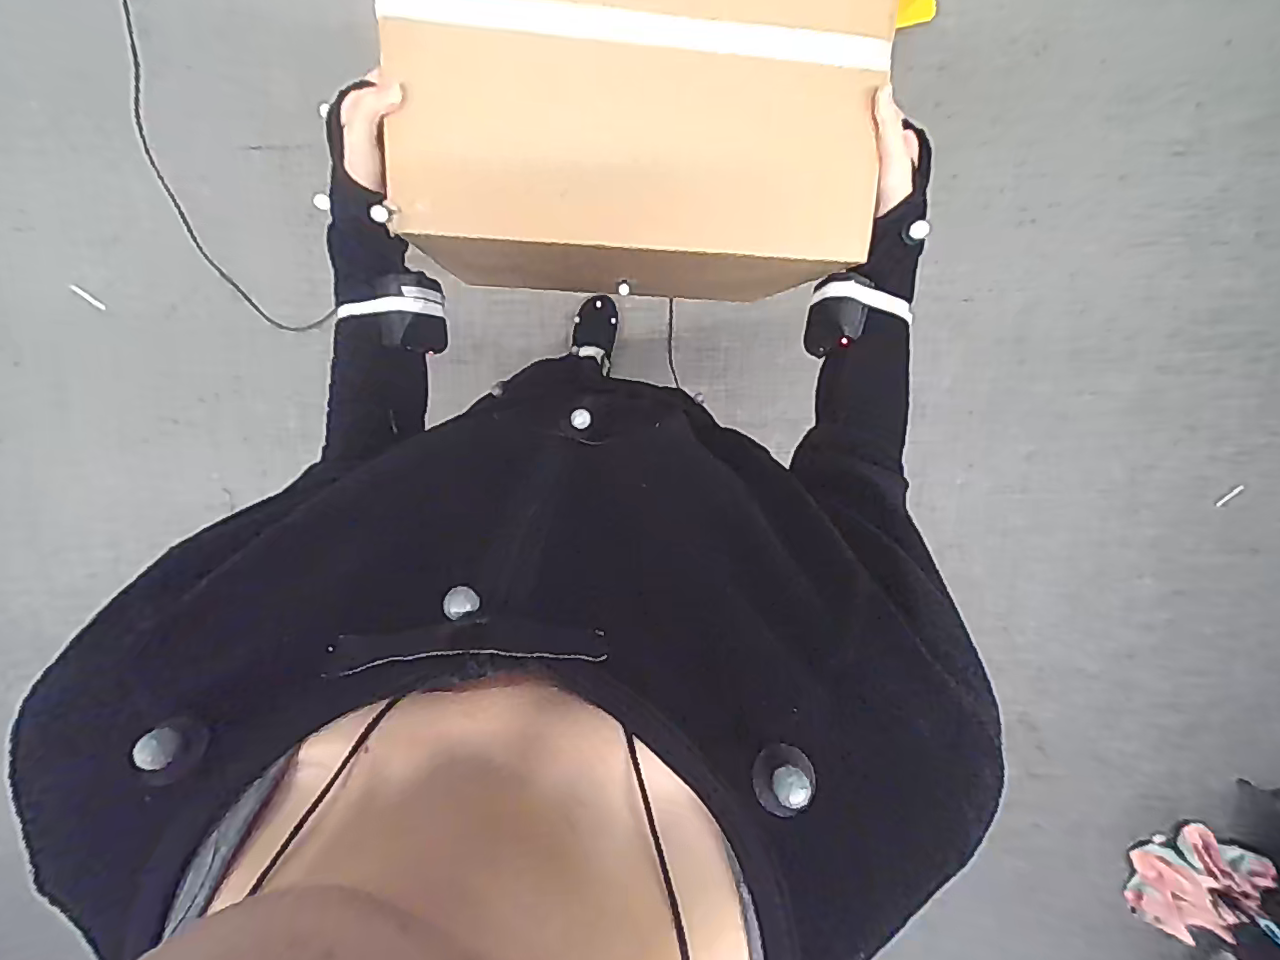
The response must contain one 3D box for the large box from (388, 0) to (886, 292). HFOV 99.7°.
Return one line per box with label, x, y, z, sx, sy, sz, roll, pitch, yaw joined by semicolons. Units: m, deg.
large box;-0.010;-0.382;0.579;0.408;0.320;0.320;1;102;-6
